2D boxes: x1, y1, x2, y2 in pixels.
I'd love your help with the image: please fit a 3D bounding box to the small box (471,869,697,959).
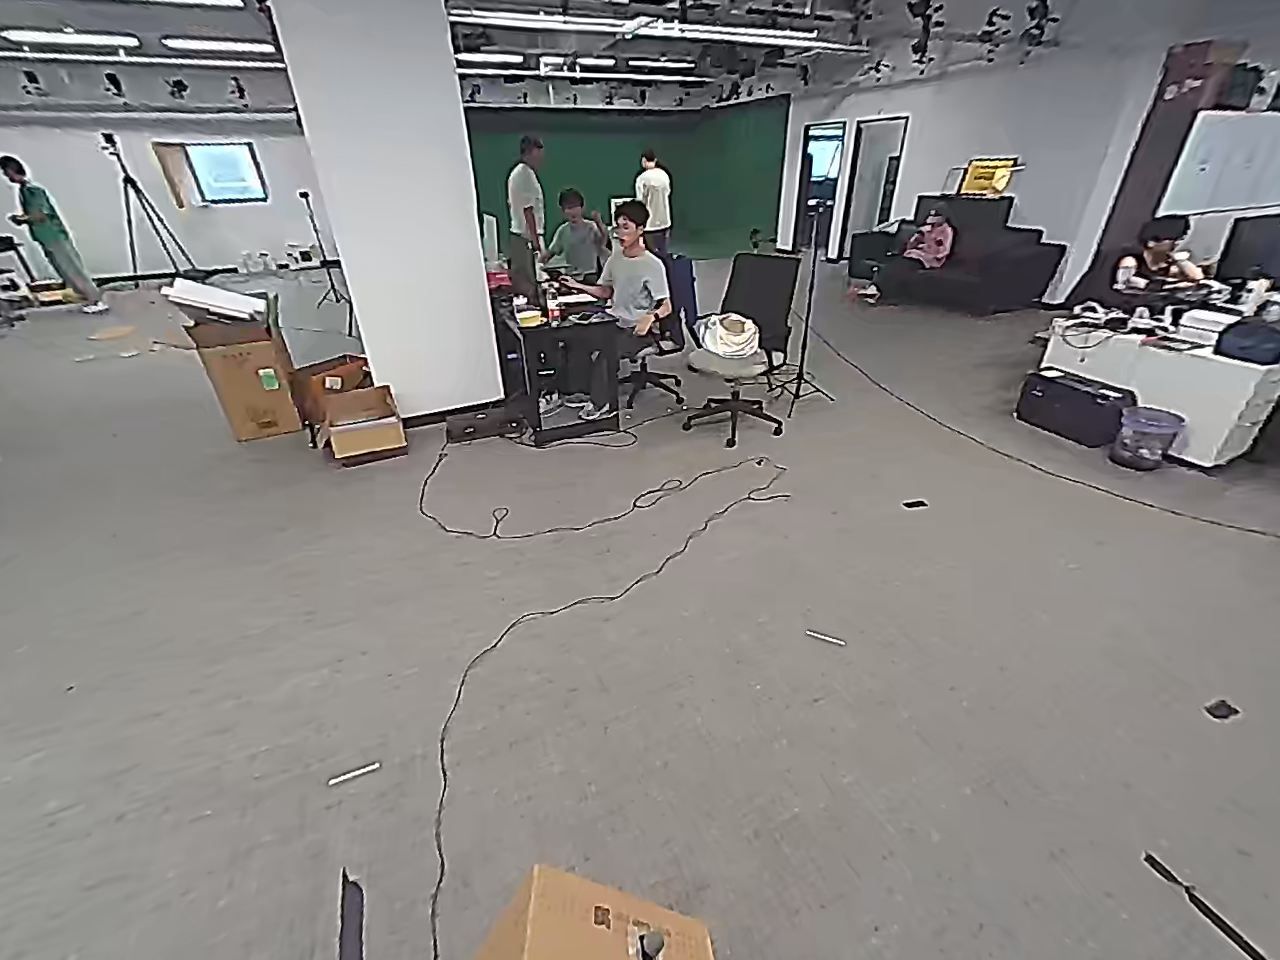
[{"bbox_3d":[-0.052,0.442,0.395,0.168,0.179,0.176,28,13,-12],"label":"small box"}]
